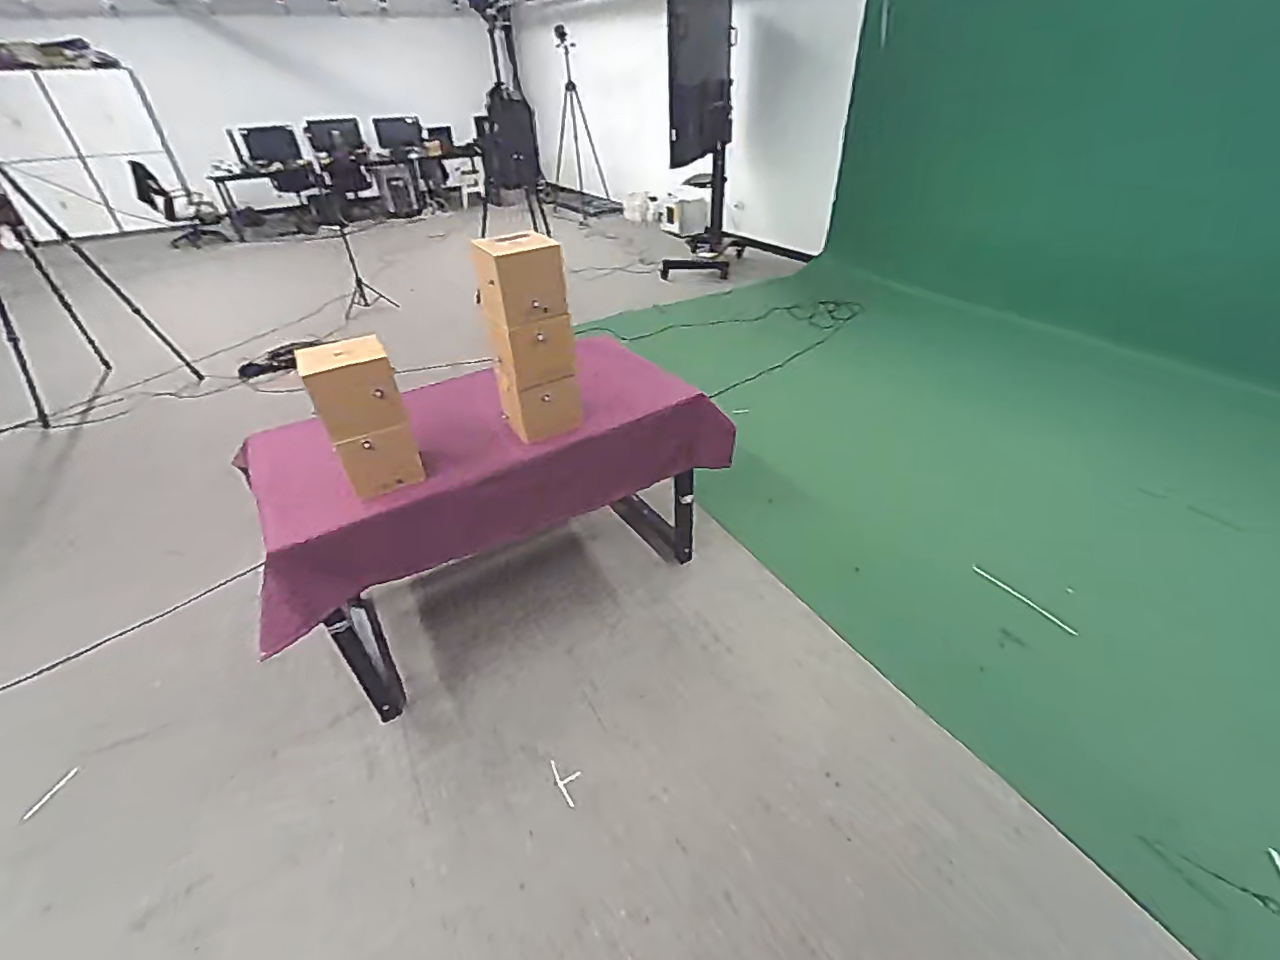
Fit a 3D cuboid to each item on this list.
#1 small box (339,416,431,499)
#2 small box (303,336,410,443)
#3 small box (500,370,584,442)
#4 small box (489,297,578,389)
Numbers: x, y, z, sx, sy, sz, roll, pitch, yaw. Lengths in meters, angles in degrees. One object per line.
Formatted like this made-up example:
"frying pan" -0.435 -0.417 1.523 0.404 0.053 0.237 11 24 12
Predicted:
"small box" -0.642 -0.080 1.348 0.168 0.176 0.179 -22 40 -23
"small box" -0.649 -0.212 1.251 0.179 0.176 0.168 -21 40 -22
"small box" -0.270 -0.229 1.521 0.179 0.176 0.168 -22 41 -24
"small box" -0.275 -0.361 1.425 0.179 0.176 0.168 -23 42 -24
